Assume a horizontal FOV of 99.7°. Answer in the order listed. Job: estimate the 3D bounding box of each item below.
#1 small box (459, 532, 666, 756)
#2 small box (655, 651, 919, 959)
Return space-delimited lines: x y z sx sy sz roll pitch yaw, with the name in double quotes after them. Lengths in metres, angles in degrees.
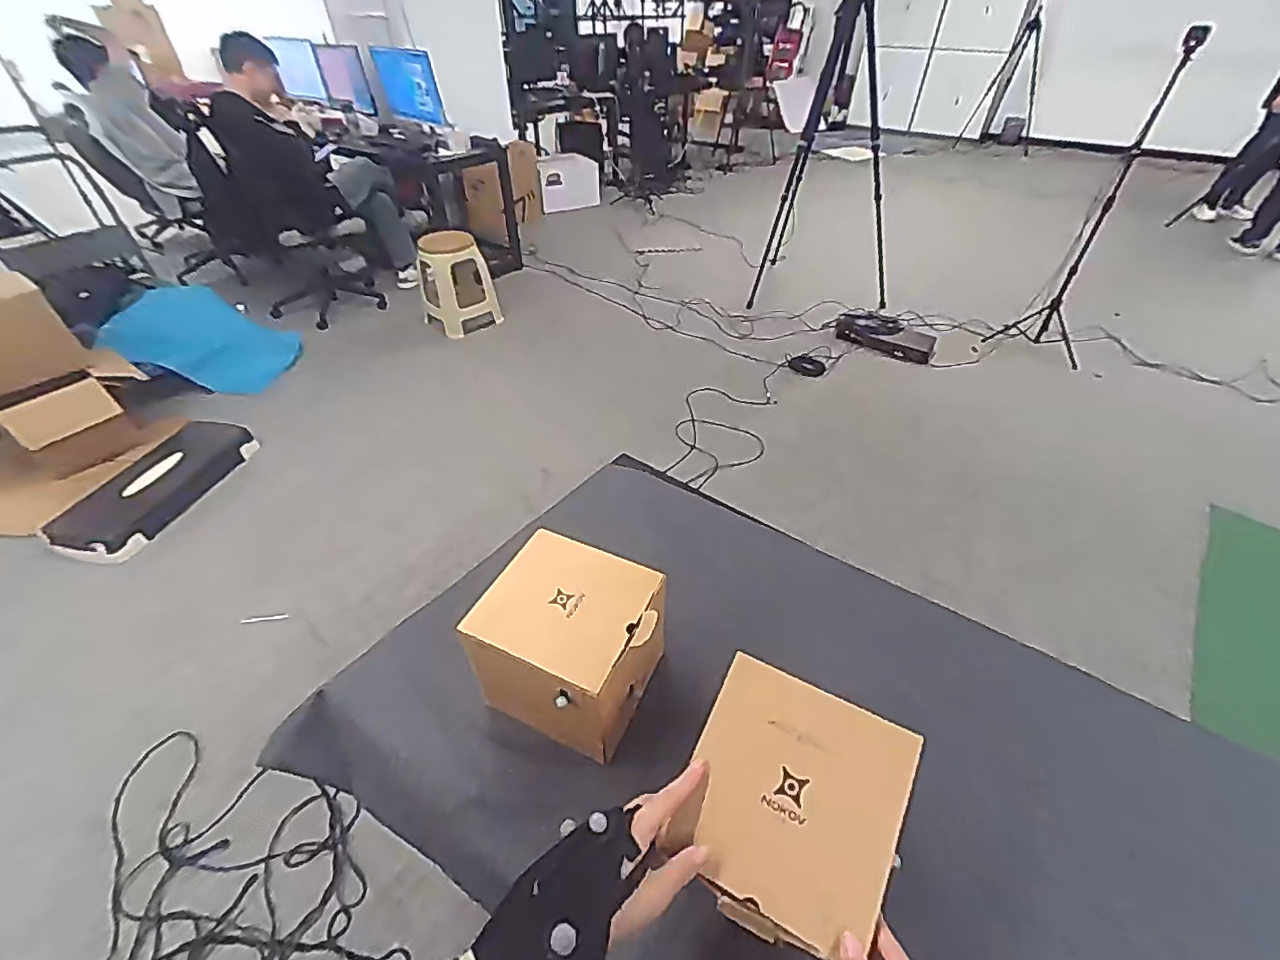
-0.083 0.196 0.651 0.179 0.176 0.168 18 43 18 "small box"
0.132 0.295 0.504 0.168 0.176 0.179 20 61 21 "small box"
